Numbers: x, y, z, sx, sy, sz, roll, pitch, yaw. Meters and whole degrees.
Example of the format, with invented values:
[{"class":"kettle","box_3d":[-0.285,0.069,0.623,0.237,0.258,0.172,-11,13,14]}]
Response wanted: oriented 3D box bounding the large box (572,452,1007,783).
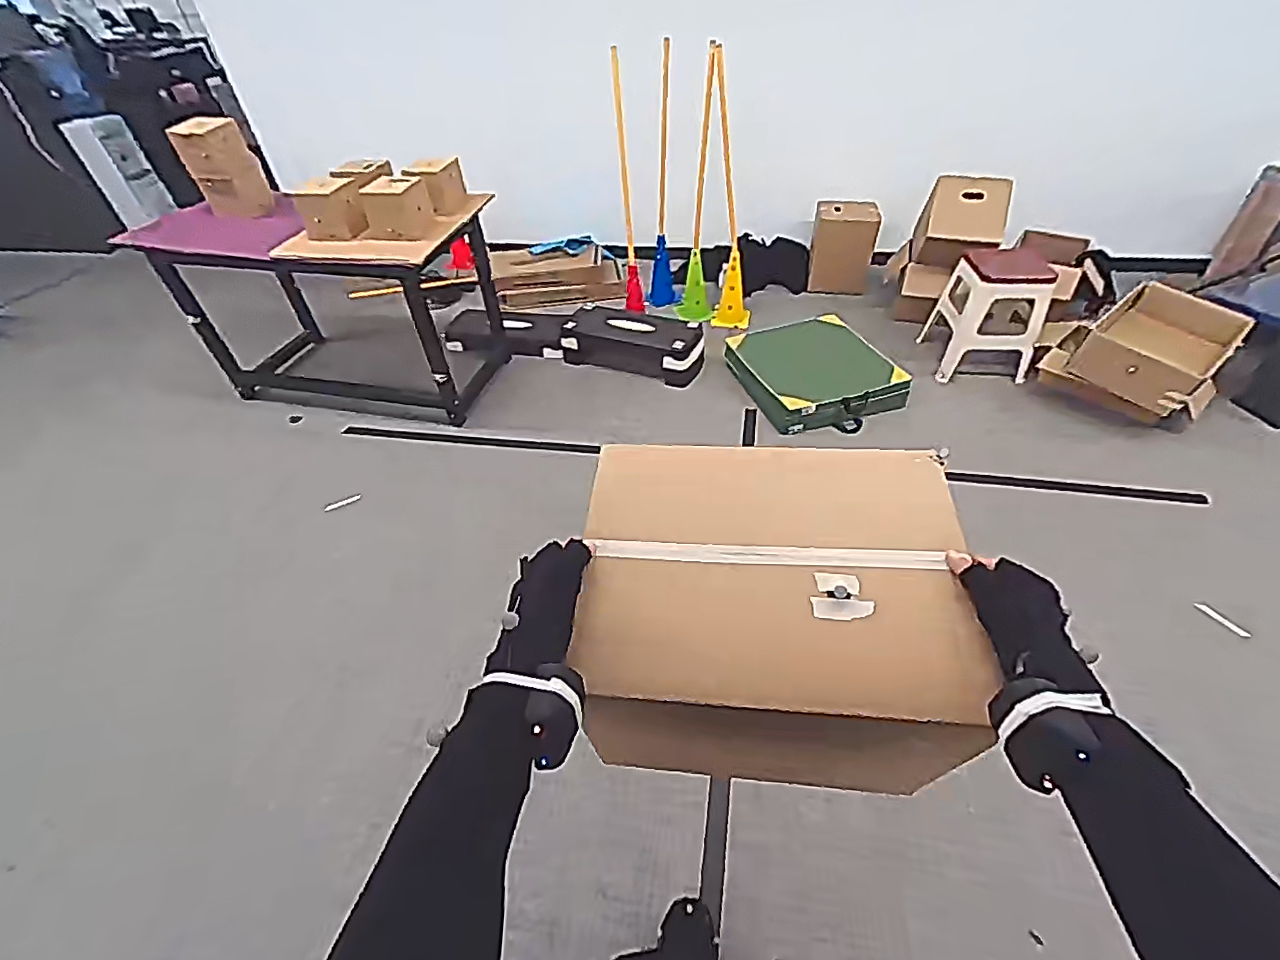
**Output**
[{"class":"large box","box_3d":[0.153,0.179,0.705,0.408,0.320,0.320,2,51,7]}]
